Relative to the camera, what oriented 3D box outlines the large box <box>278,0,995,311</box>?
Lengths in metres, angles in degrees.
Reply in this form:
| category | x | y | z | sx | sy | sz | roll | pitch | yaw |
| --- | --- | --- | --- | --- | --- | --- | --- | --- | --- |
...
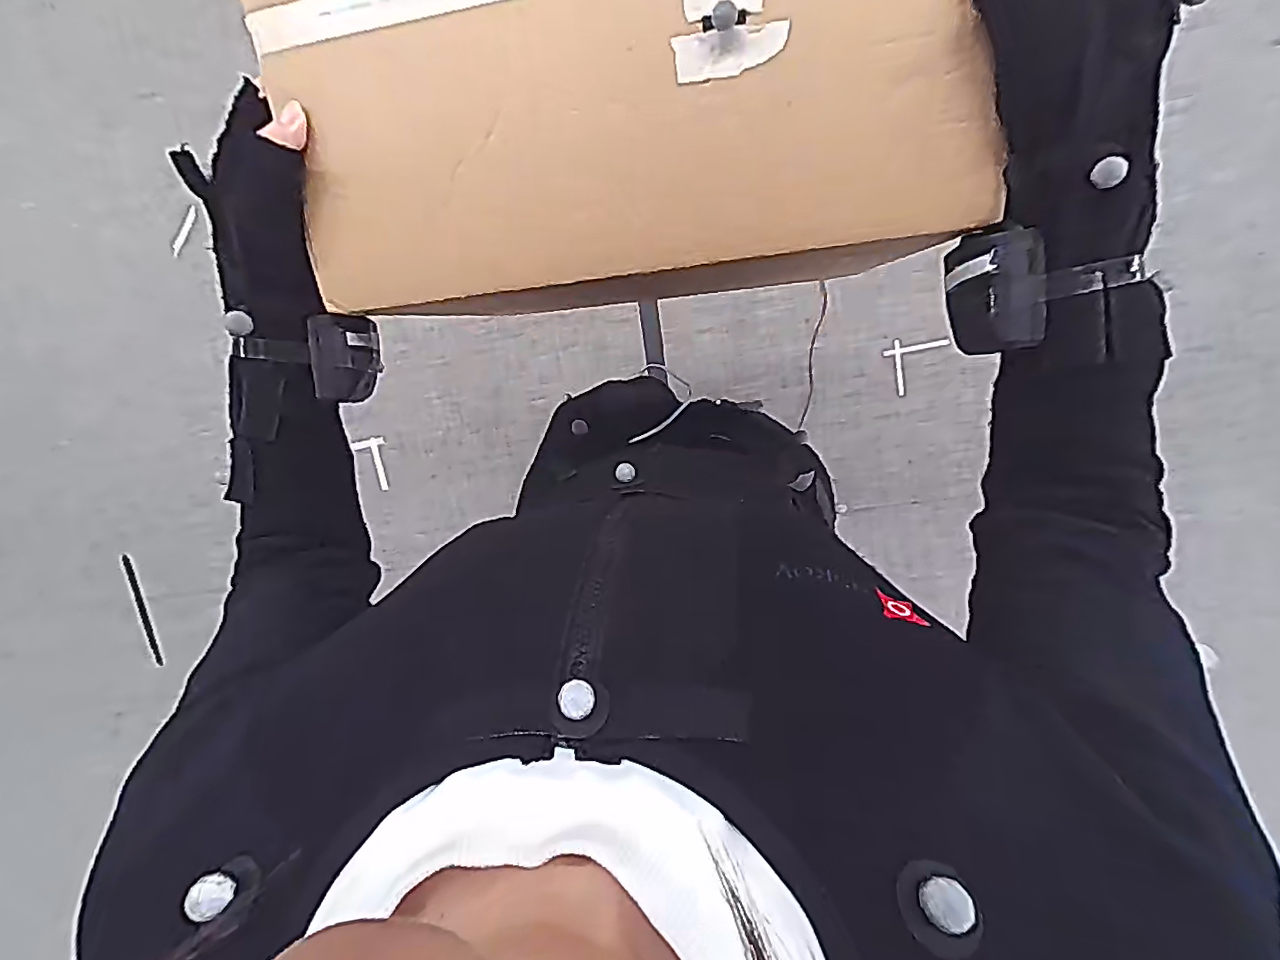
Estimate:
| category | x | y | z | sx | sy | sz | roll | pitch | yaw |
| --- | --- | --- | --- | --- | --- | --- | --- | --- | --- |
| large box | 0.000 | -0.324 | 0.435 | 0.408 | 0.320 | 0.320 | -4 | 106 | 10 |

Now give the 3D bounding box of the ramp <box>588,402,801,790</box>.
| category | x | y | z | sx | sy | sz | roll | pitch | yaw |
| --- | --- | --- | --- | --- | --- | --- | --- | --- | --- |
| ramp | 0.131 | 0.312 | 1.439 | 0.509 | 0.206 | 0.991 | -7 | 98 | 11 |
